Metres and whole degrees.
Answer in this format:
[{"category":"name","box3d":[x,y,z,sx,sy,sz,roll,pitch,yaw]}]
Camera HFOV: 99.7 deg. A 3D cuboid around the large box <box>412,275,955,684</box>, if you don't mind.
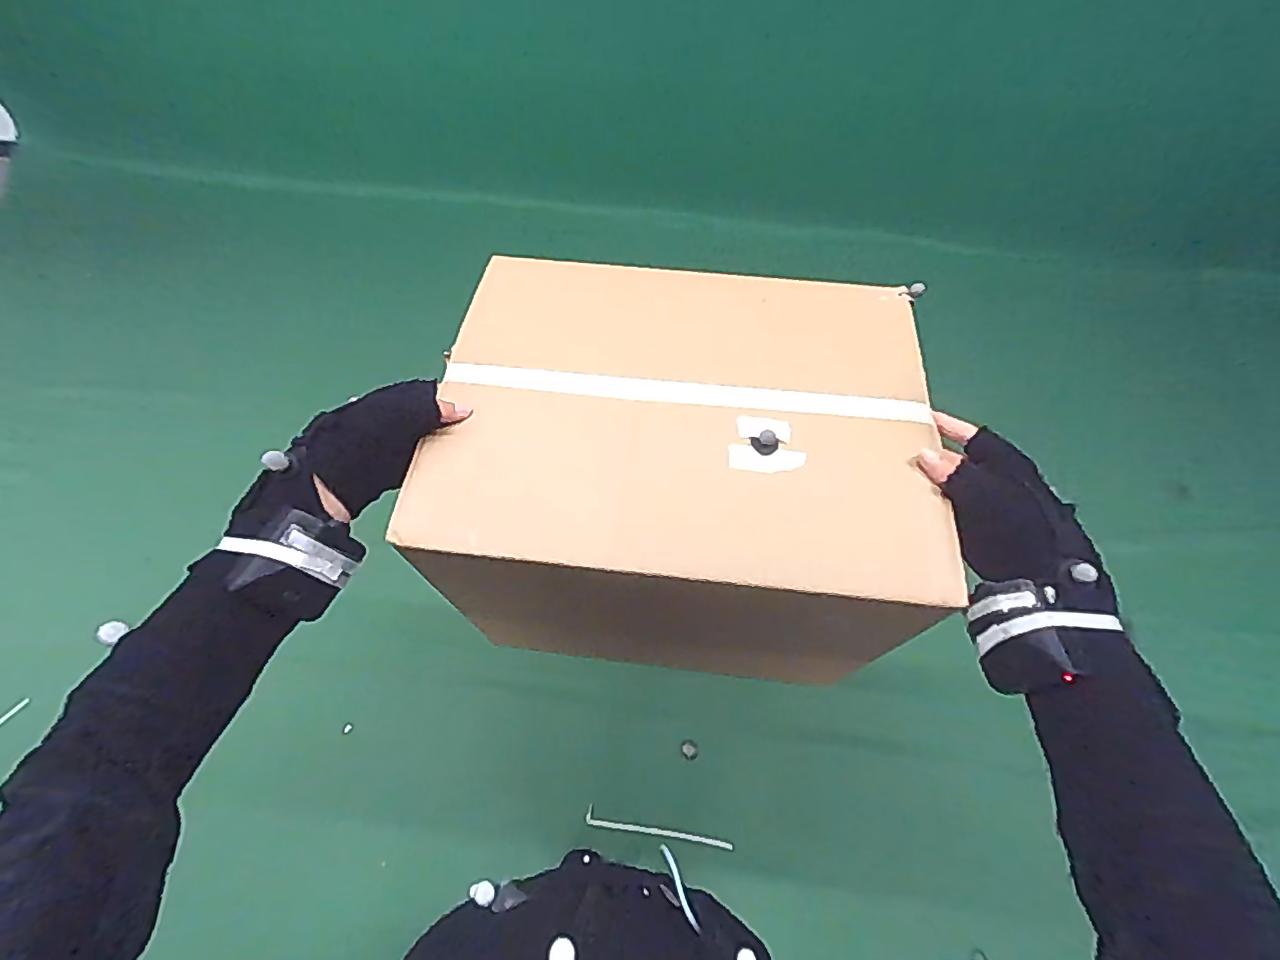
[{"category":"large box","box3d":[0.038,0.015,0.591,0.408,0.320,0.320,6,59,2]}]
